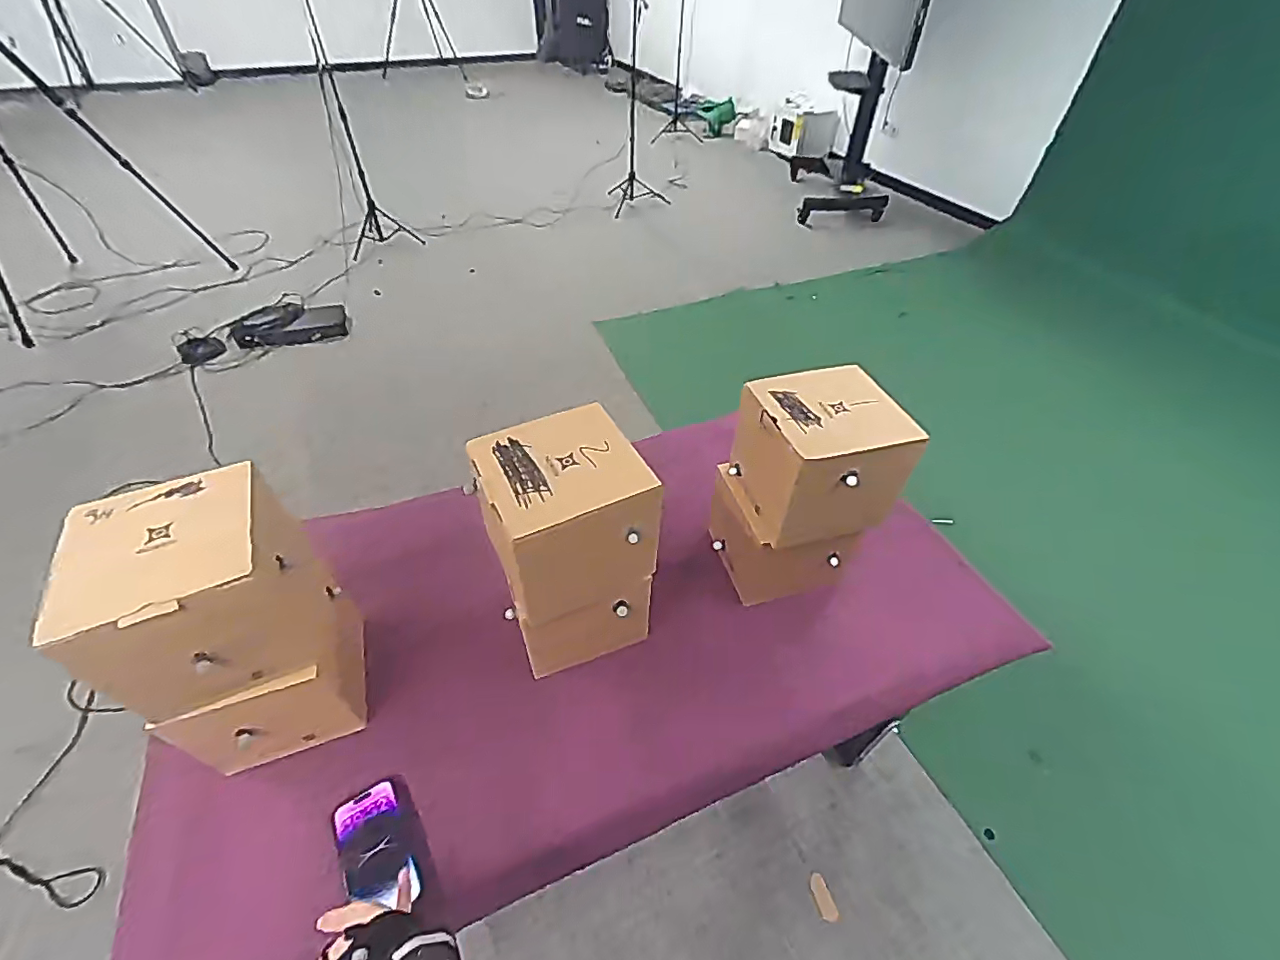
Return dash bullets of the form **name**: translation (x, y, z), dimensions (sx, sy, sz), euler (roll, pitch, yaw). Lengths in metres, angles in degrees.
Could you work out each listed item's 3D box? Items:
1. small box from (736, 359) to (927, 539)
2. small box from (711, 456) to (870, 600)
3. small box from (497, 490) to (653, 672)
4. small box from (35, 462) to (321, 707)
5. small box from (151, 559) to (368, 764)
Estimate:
- **small box**: translation (0.242, -0.040, 0.741), dimensions (0.179, 0.176, 0.168), euler (-11, 46, -12)
- **small box**: translation (0.227, 0.066, 0.865), dimensions (0.179, 0.176, 0.168), euler (-11, 46, -11)
- **small box**: translation (-0.093, 0.146, 0.781), dimensions (0.179, 0.176, 0.168), euler (-16, 48, -15)
- **small box**: translation (-0.465, 0.116, 0.579), dimensions (0.168, 0.176, 0.179), euler (-19, 49, -19)
- **small box**: translation (-0.463, 0.236, 0.691), dimensions (0.168, 0.176, 0.179), euler (-16, 48, -15)
